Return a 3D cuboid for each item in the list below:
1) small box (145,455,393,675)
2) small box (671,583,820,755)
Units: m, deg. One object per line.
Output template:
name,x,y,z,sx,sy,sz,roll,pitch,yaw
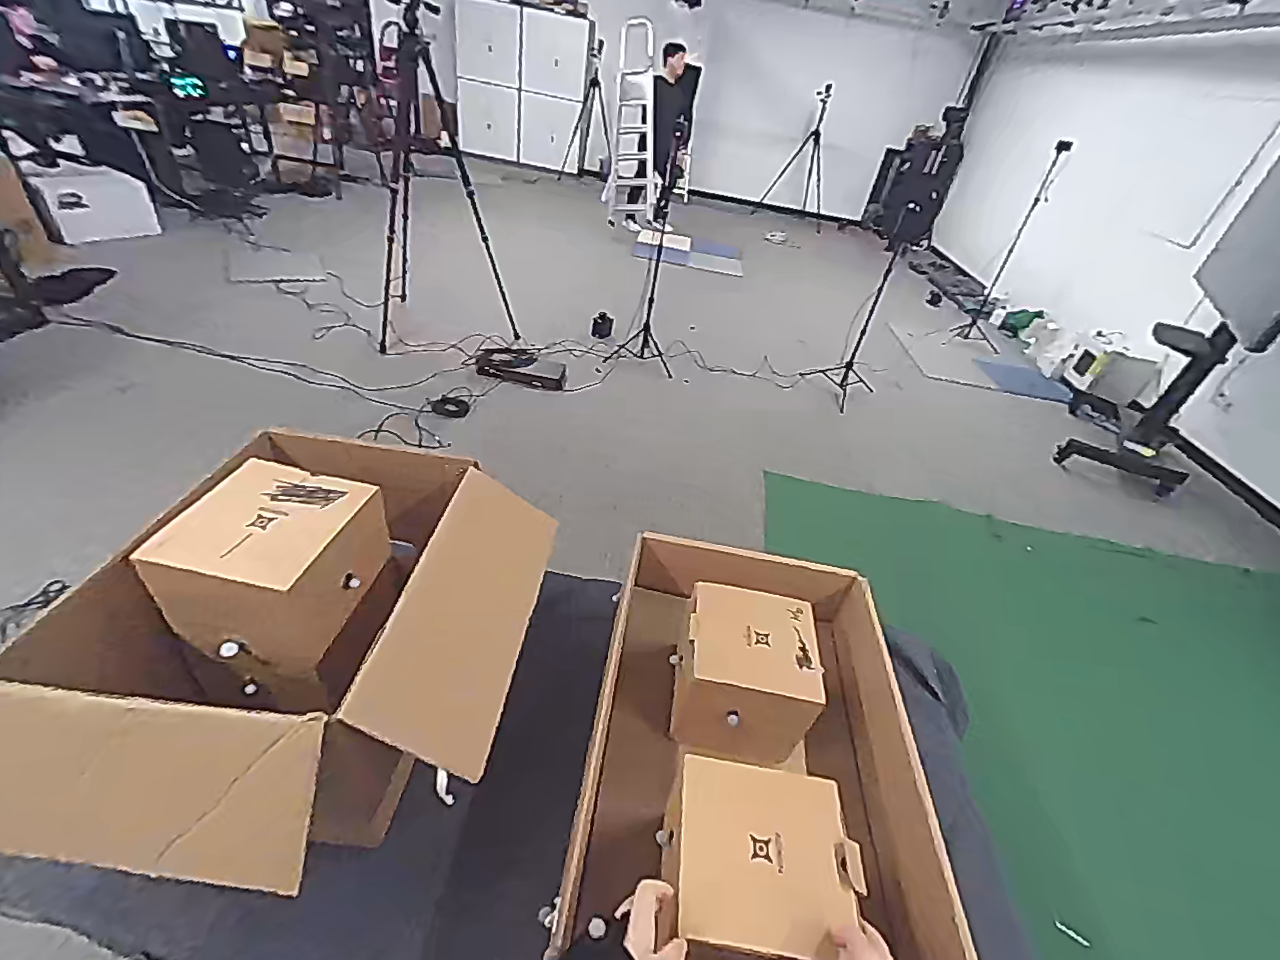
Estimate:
small box,-0.420,0.101,0.654,0.168,0.176,0.179,13,39,1
small box,0.146,0.281,0.801,0.179,0.176,0.168,11,40,1
